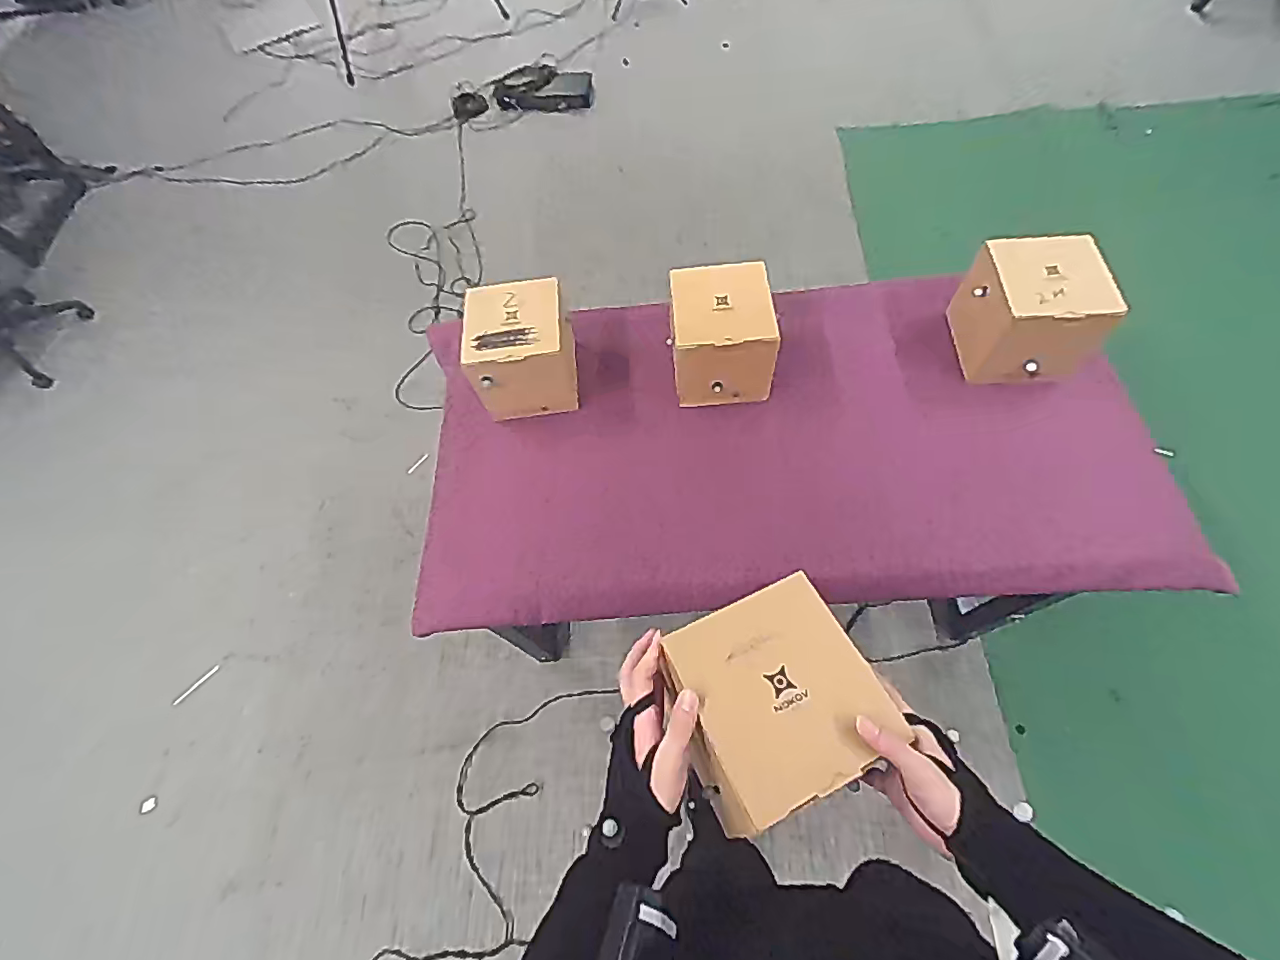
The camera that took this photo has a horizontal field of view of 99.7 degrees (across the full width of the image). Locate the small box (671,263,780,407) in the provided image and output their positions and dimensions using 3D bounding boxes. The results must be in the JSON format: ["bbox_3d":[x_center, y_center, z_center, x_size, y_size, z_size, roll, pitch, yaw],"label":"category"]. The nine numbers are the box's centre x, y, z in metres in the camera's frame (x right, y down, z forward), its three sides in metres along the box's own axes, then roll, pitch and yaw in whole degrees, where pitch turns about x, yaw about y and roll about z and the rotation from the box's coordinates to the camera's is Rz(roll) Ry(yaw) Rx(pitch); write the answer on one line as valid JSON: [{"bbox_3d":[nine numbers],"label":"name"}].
[{"bbox_3d":[0.141,-0.252,0.959,0.168,0.176,0.179,-5,64,3],"label":"small box"}]

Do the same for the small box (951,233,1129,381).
[{"bbox_3d":[0.659,-0.289,0.920,0.168,0.176,0.179,-1,64,7],"label":"small box"}]
